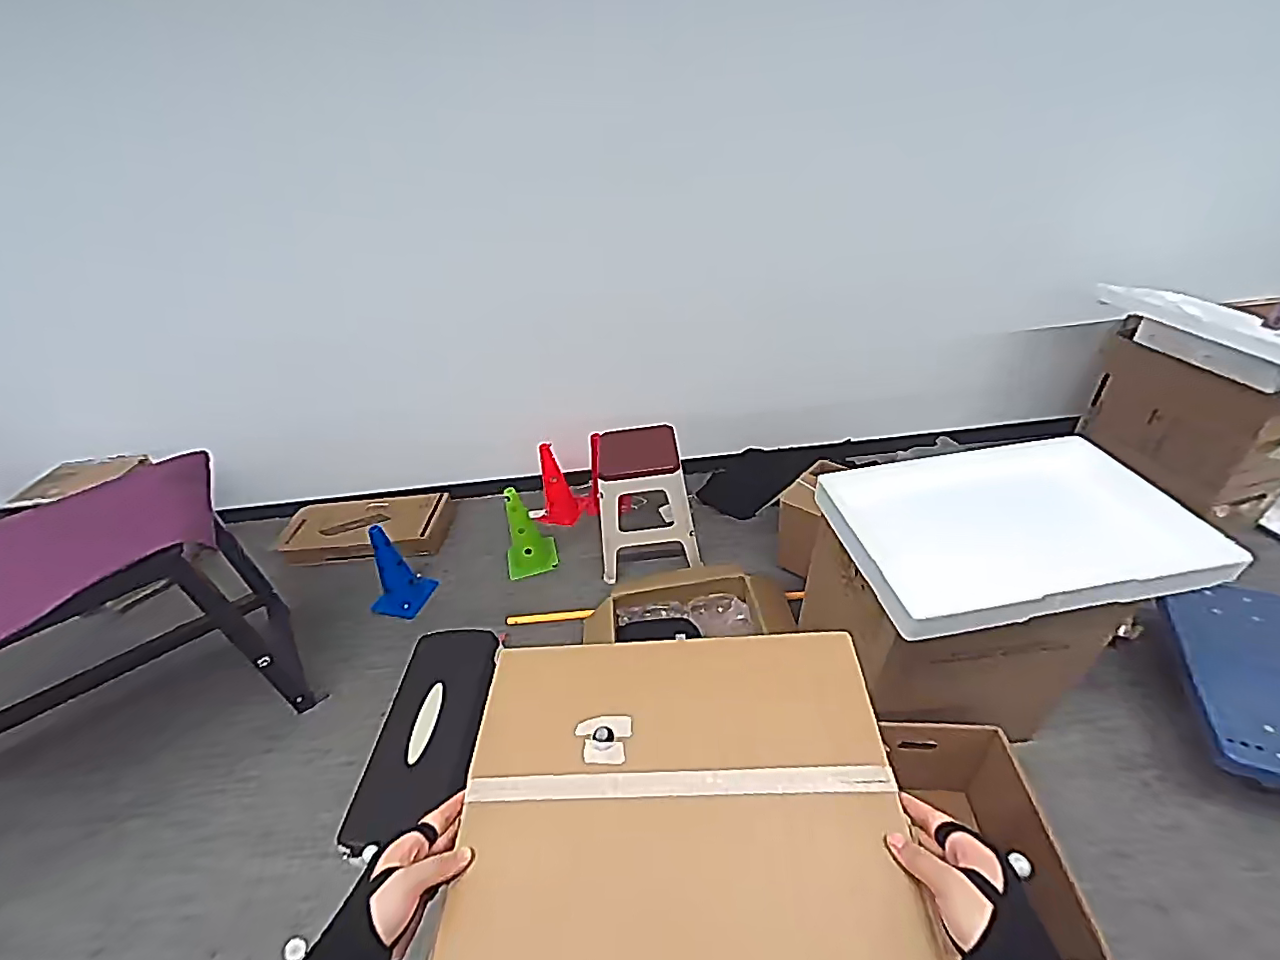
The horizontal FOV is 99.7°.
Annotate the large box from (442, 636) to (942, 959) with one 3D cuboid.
[{"bbox_3d":[0.056,0.410,0.616,0.408,0.320,0.320,-6,40,7],"label":"large box"}]
